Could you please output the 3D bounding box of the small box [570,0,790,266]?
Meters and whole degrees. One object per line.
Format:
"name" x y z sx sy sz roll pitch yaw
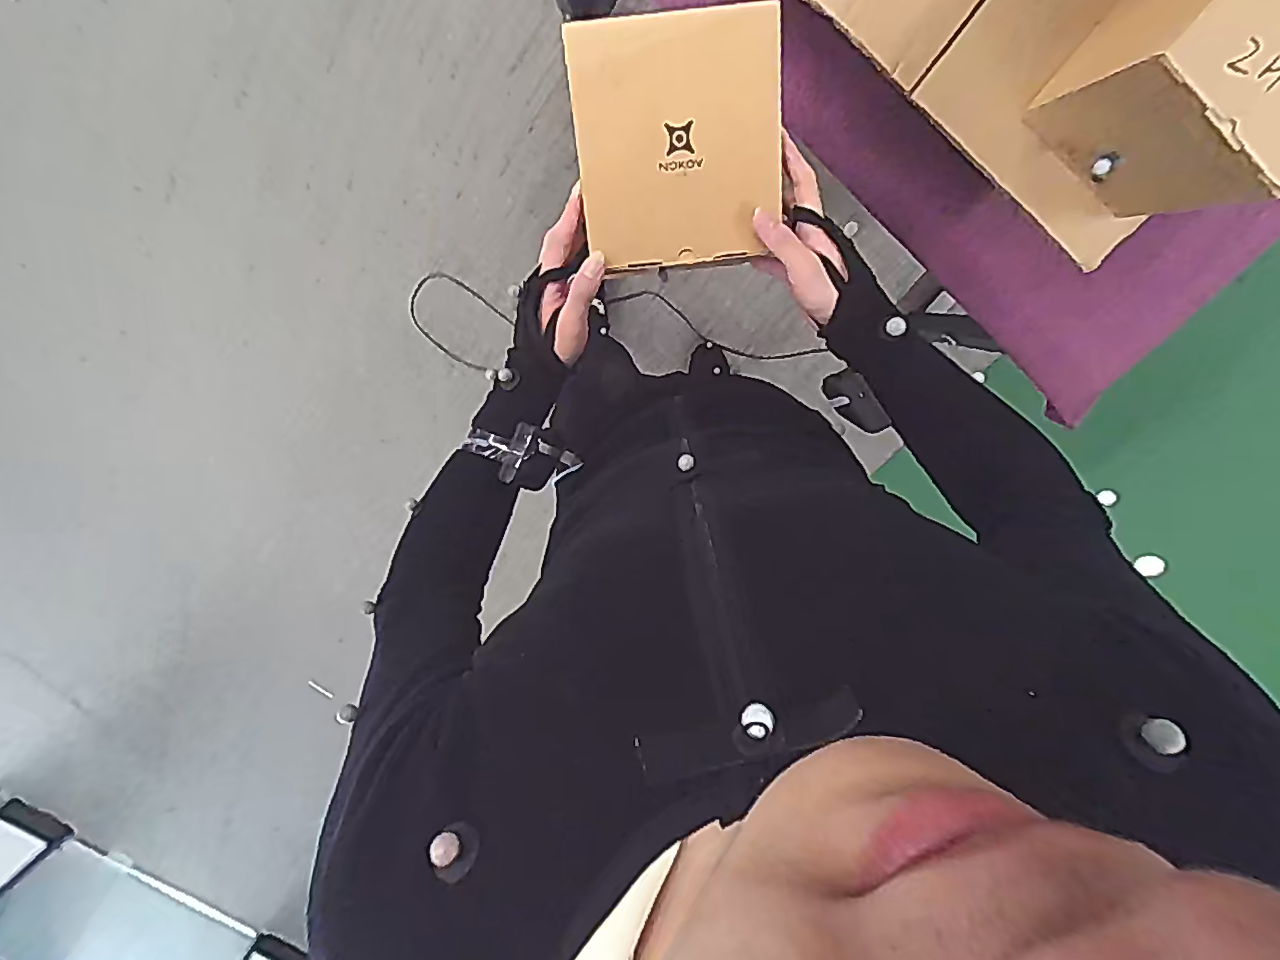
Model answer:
"small box" 0.031 -0.298 0.496 0.168 0.176 0.179 -6 111 0

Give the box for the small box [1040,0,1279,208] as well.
"small box" 0.510 -0.367 0.465 0.168 0.176 0.179 35 108 -11
